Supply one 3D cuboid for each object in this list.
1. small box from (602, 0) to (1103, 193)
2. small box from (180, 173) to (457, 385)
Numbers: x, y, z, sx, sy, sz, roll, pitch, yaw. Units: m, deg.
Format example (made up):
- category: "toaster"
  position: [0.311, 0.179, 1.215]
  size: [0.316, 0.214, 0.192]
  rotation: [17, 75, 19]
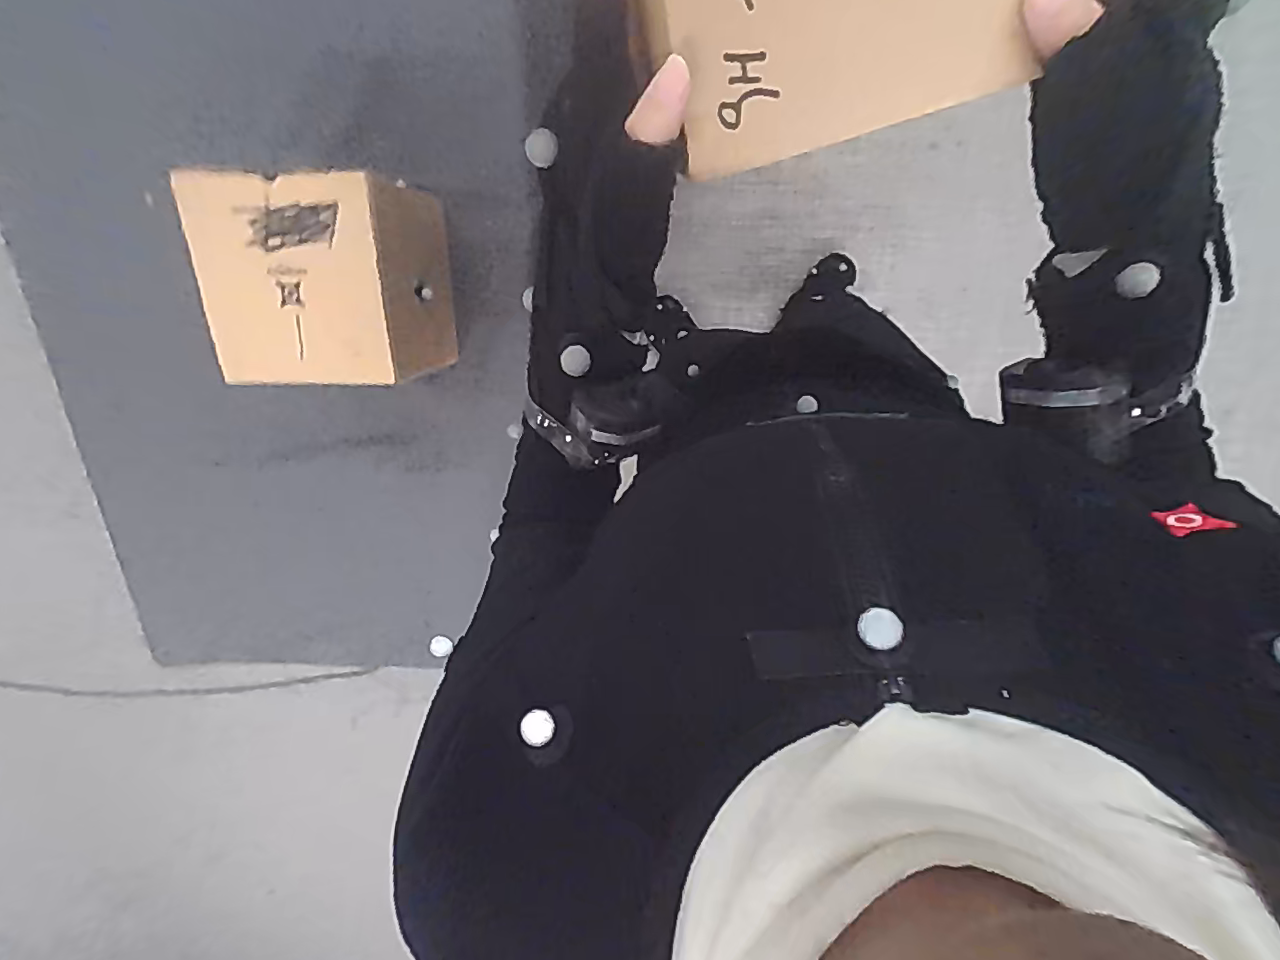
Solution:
- category: "small box"
  position: [0.073, -0.258, 0.234]
  size: [0.179, 0.176, 0.168]
  rotation: [-18, 133, 2]
- category: "small box"
  position: [-0.302, -0.199, 0.552]
  size: [0.168, 0.176, 0.179]
  rotation: [1, 111, 2]
